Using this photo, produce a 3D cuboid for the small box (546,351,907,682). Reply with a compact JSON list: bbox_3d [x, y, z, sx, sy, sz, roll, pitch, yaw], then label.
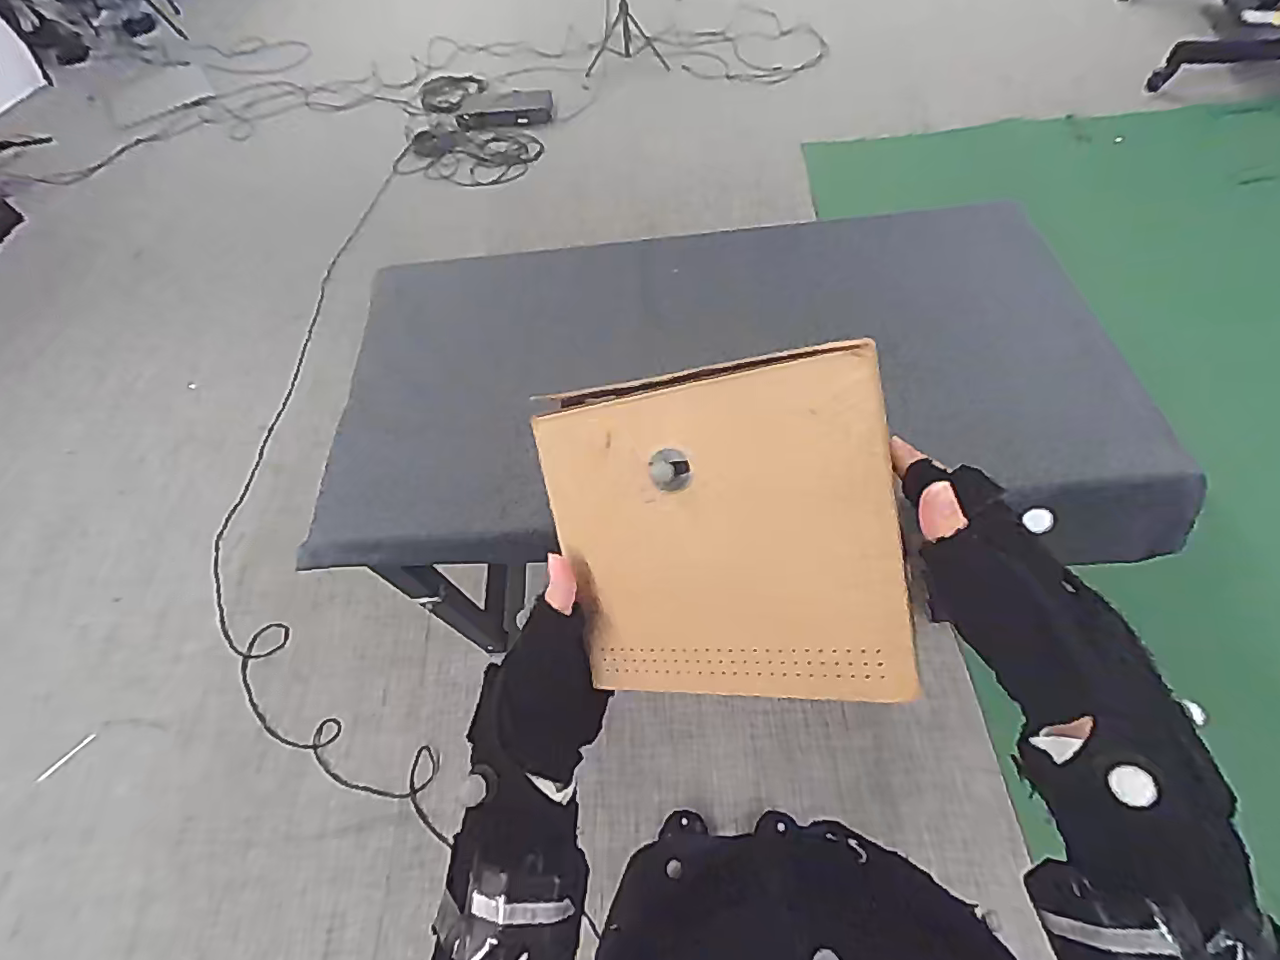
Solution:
[{"bbox_3d":[0.068,0.018,0.362,0.179,0.168,0.176,-8,99,25],"label":"small box"}]
